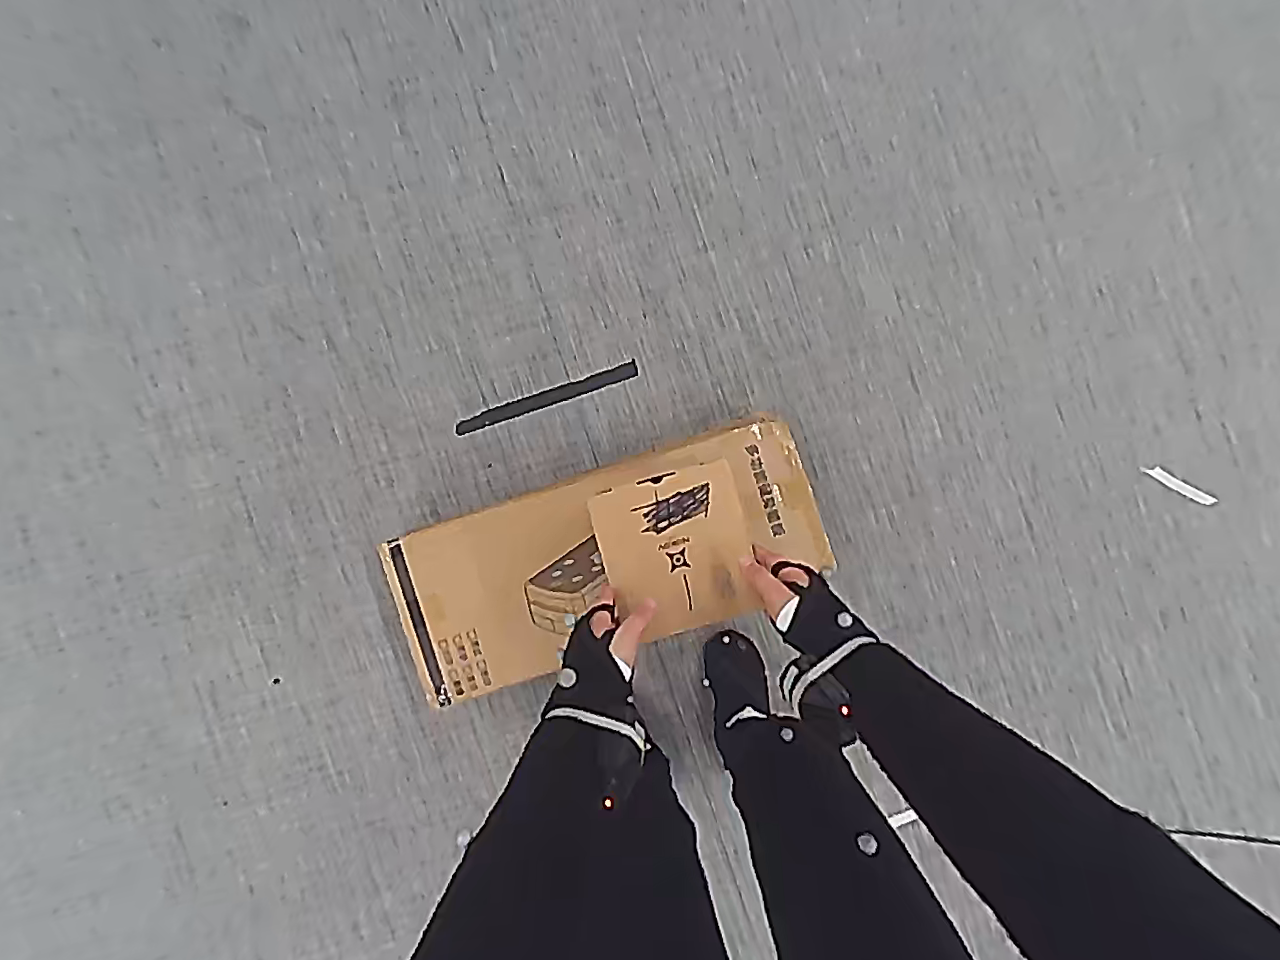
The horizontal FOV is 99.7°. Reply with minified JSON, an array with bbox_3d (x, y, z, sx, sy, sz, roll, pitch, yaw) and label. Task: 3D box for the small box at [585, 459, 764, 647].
[{"bbox_3d":[0.037,0.084,0.678,0.168,0.176,0.179,-17,88,0],"label":"small box"}]
